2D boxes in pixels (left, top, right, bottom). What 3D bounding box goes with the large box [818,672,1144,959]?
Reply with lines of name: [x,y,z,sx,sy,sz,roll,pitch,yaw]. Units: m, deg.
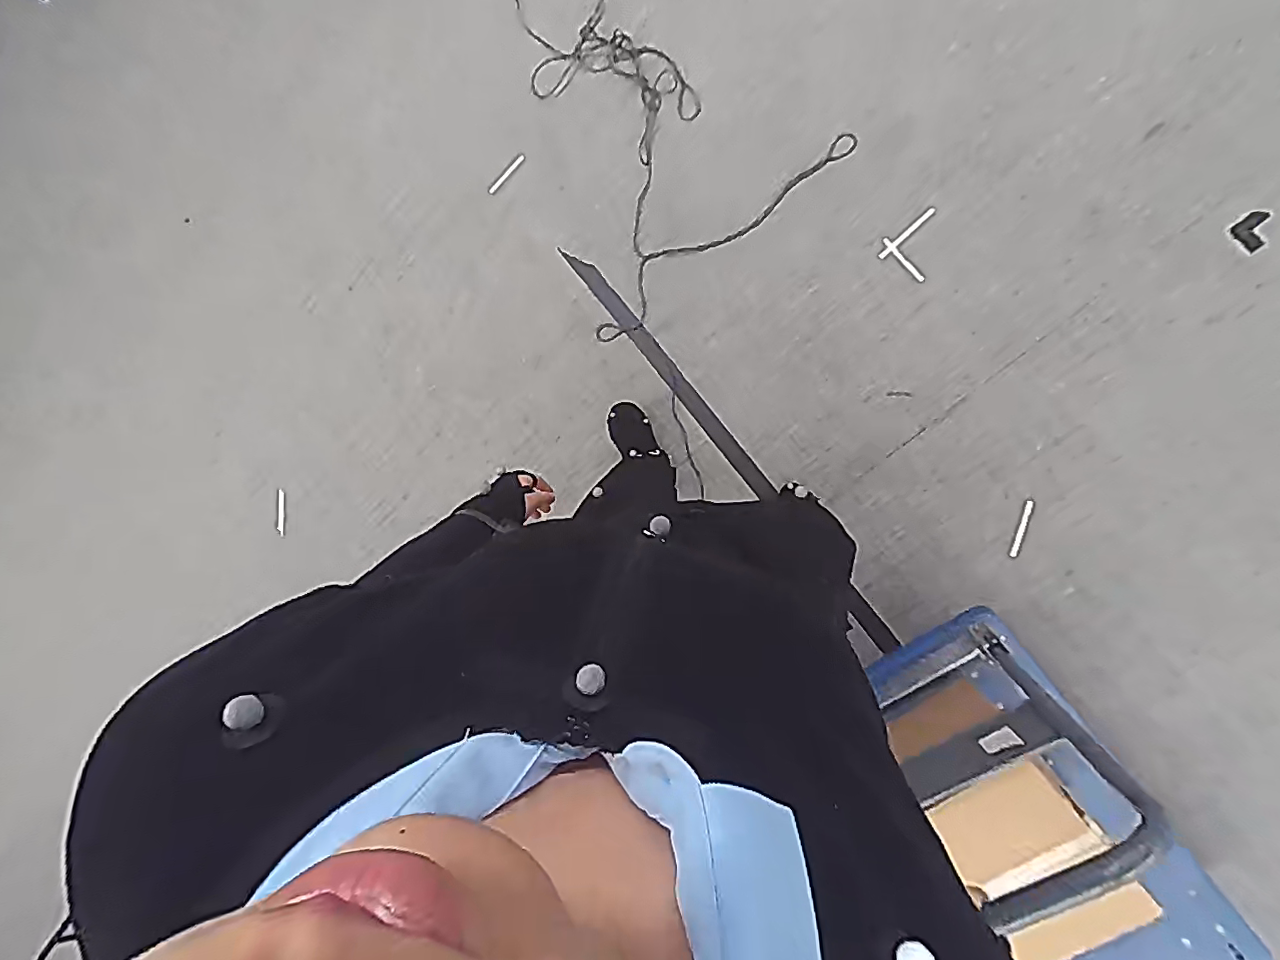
large box: [0.620,0.670,1.080,0.408,0.320,0.320,-42,83,15]
